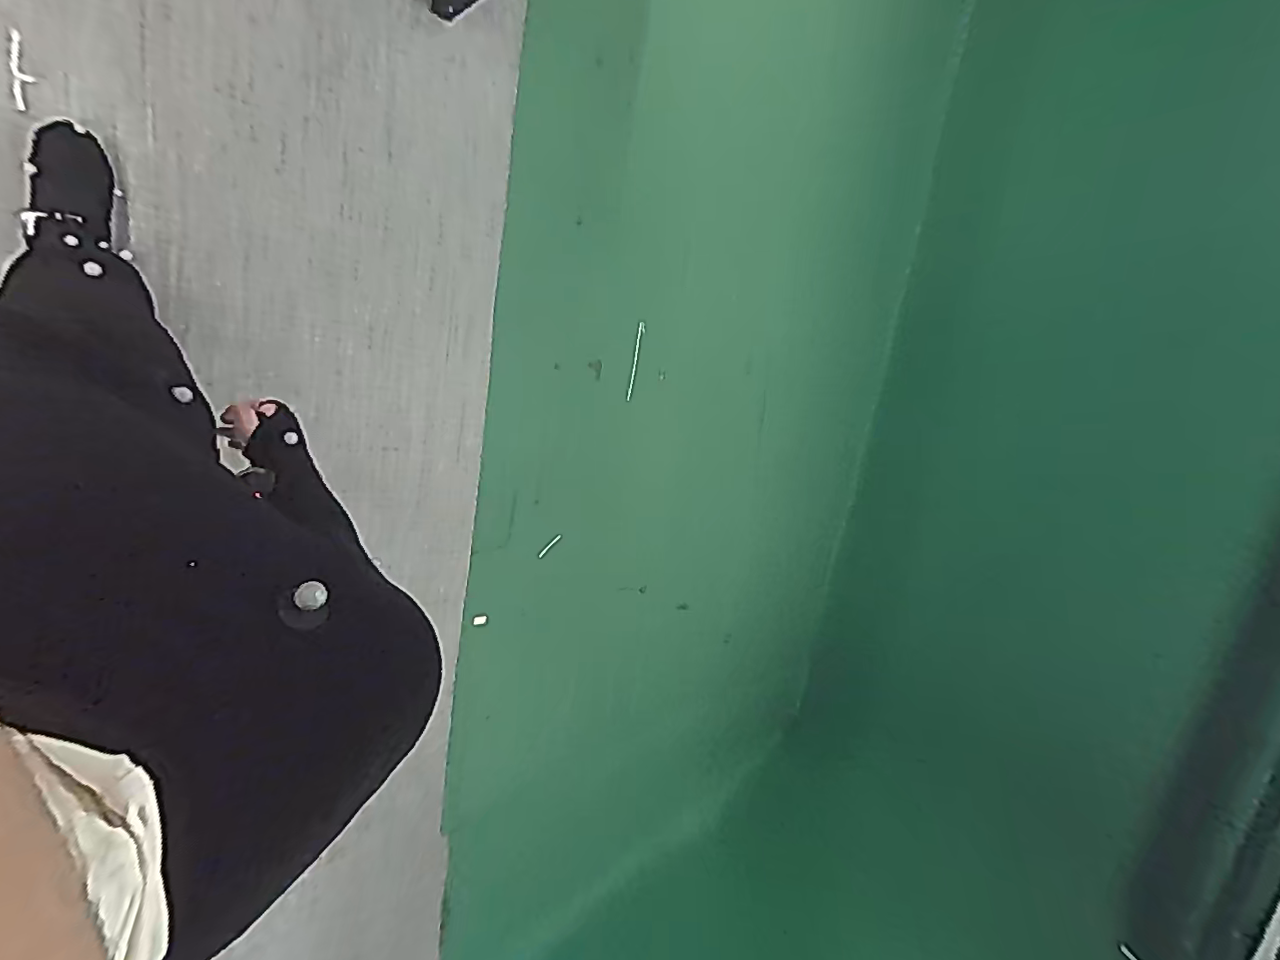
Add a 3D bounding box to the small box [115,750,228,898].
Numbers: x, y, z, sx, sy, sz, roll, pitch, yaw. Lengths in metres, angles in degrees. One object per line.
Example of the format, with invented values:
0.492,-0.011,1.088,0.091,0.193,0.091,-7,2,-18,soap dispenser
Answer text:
-1.012,0.728,1.167,0.168,0.176,0.179,0,106,-48,small box
